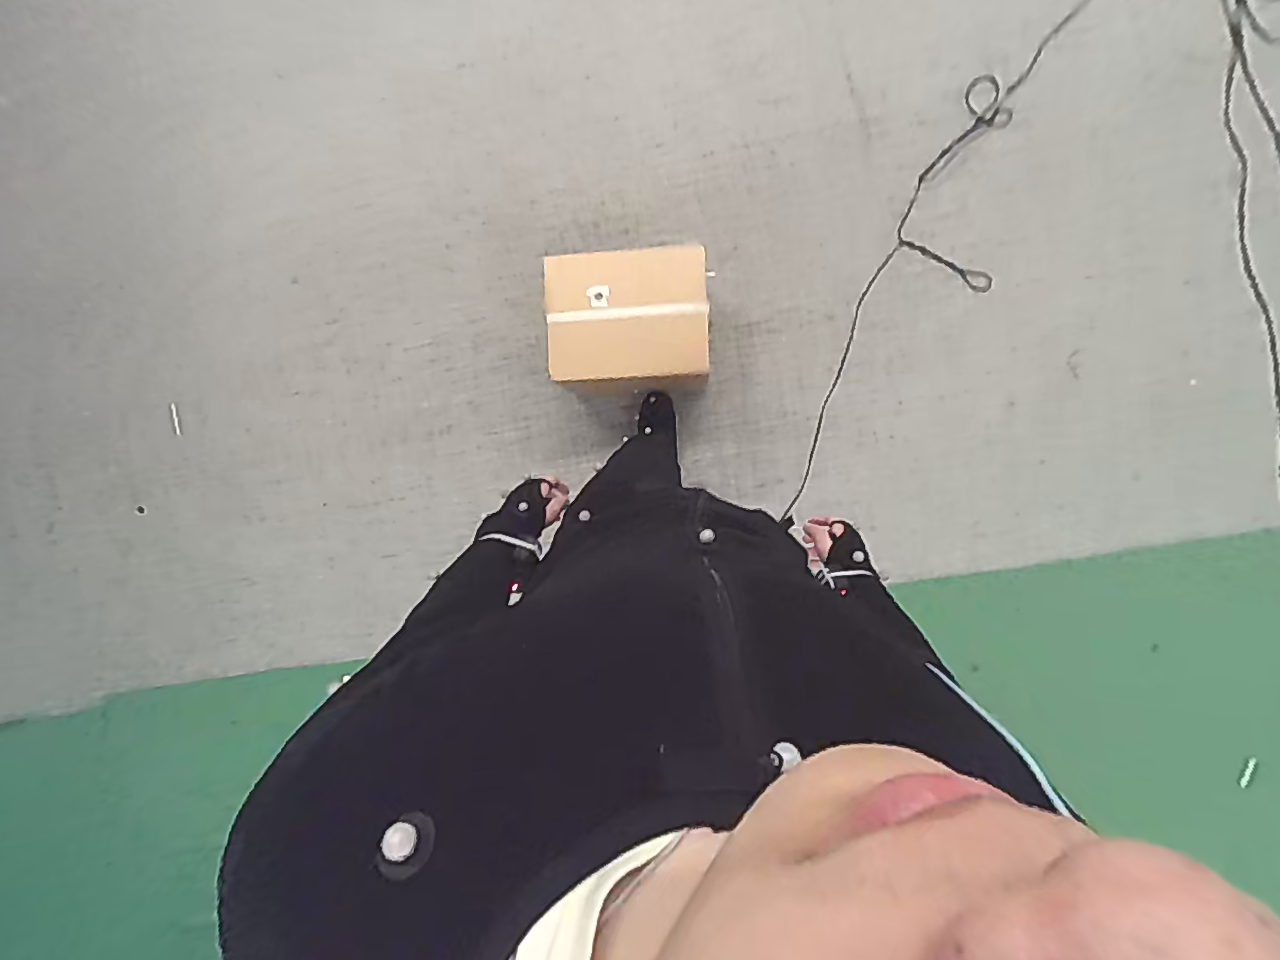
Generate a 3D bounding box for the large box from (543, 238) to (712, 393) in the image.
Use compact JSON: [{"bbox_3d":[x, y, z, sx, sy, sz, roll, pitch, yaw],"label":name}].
[{"bbox_3d":[-0.017,-0.424,1.478,0.408,0.320,0.320,-4,90,7],"label":"large box"}]
